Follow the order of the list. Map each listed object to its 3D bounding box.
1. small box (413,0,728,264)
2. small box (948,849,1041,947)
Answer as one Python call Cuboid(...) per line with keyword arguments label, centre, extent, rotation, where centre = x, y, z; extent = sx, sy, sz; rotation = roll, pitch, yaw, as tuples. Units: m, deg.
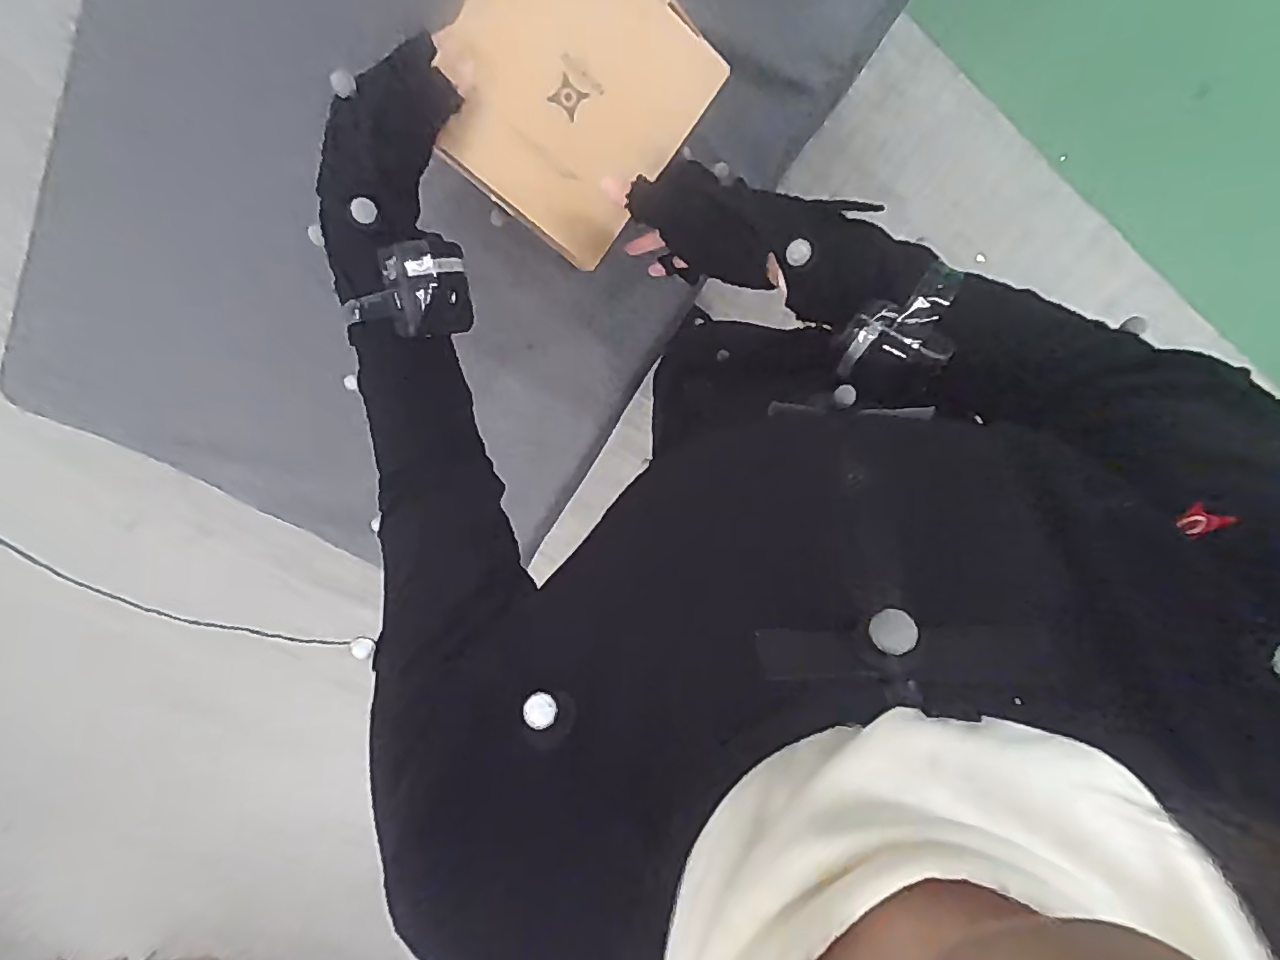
Cuboid(label="small box", centre=(-0.060, -0.310, 0.462), extent=(0.168, 0.176, 0.179), rotation=(34, 103, -18))
Cuboid(label="small box", centre=(1.069, 1.255, 1.633), extent=(0.179, 0.176, 0.168), rotation=(-19, 113, 8))
